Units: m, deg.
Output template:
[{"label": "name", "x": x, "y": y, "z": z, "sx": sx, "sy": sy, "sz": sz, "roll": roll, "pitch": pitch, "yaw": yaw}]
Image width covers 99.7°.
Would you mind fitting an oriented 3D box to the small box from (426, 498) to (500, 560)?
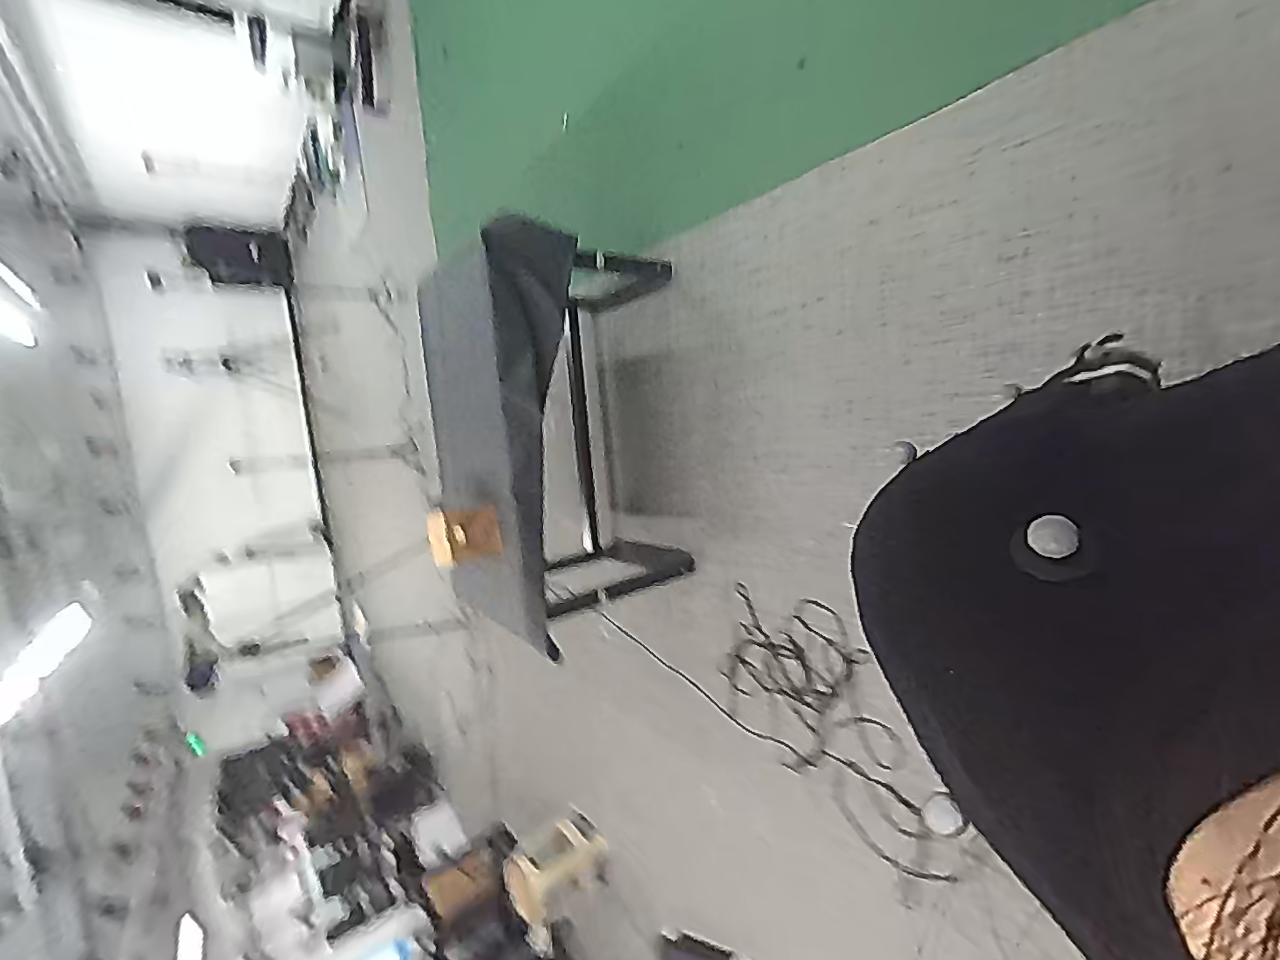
[{"label": "small box", "x": -0.562, "y": 0.157, "z": 1.719, "sx": 0.179, "sy": 0.176, "sz": 0.168, "roll": -15, "pitch": 85, "yaw": 52}]
